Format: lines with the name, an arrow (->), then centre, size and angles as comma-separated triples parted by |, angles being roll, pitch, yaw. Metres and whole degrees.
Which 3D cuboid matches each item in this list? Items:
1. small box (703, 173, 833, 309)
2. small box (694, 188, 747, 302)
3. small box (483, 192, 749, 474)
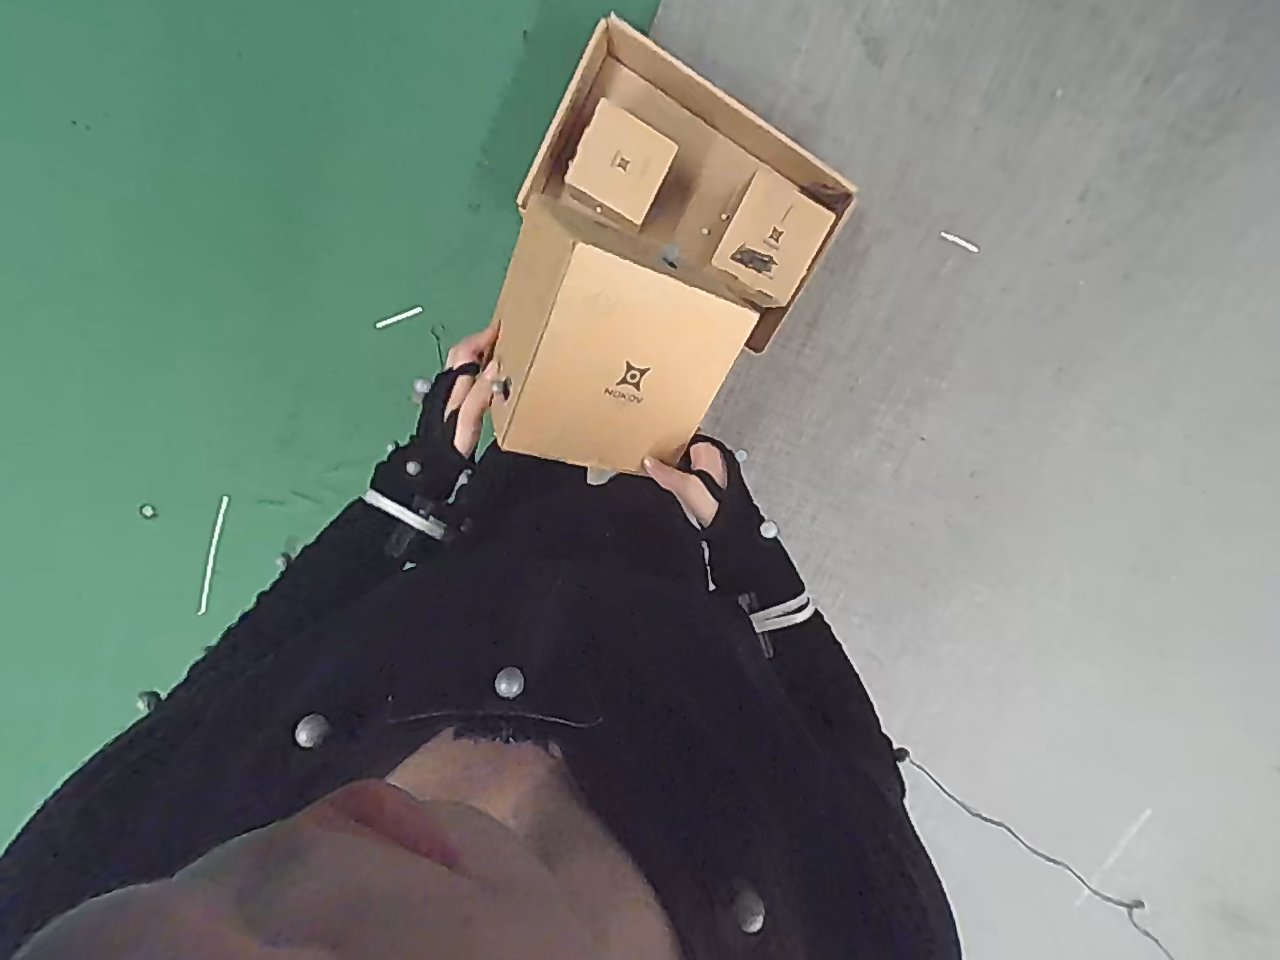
small box -> 0.234, -0.446, 1.045 | 0.168, 0.176, 0.179 | 26, 103, -9
small box -> 0.231, -0.507, 1.198 | 0.168, 0.176, 0.179 | 24, 105, -9
small box -> -0.038, -0.135, 0.501 | 0.168, 0.176, 0.179 | 12, 123, -30
